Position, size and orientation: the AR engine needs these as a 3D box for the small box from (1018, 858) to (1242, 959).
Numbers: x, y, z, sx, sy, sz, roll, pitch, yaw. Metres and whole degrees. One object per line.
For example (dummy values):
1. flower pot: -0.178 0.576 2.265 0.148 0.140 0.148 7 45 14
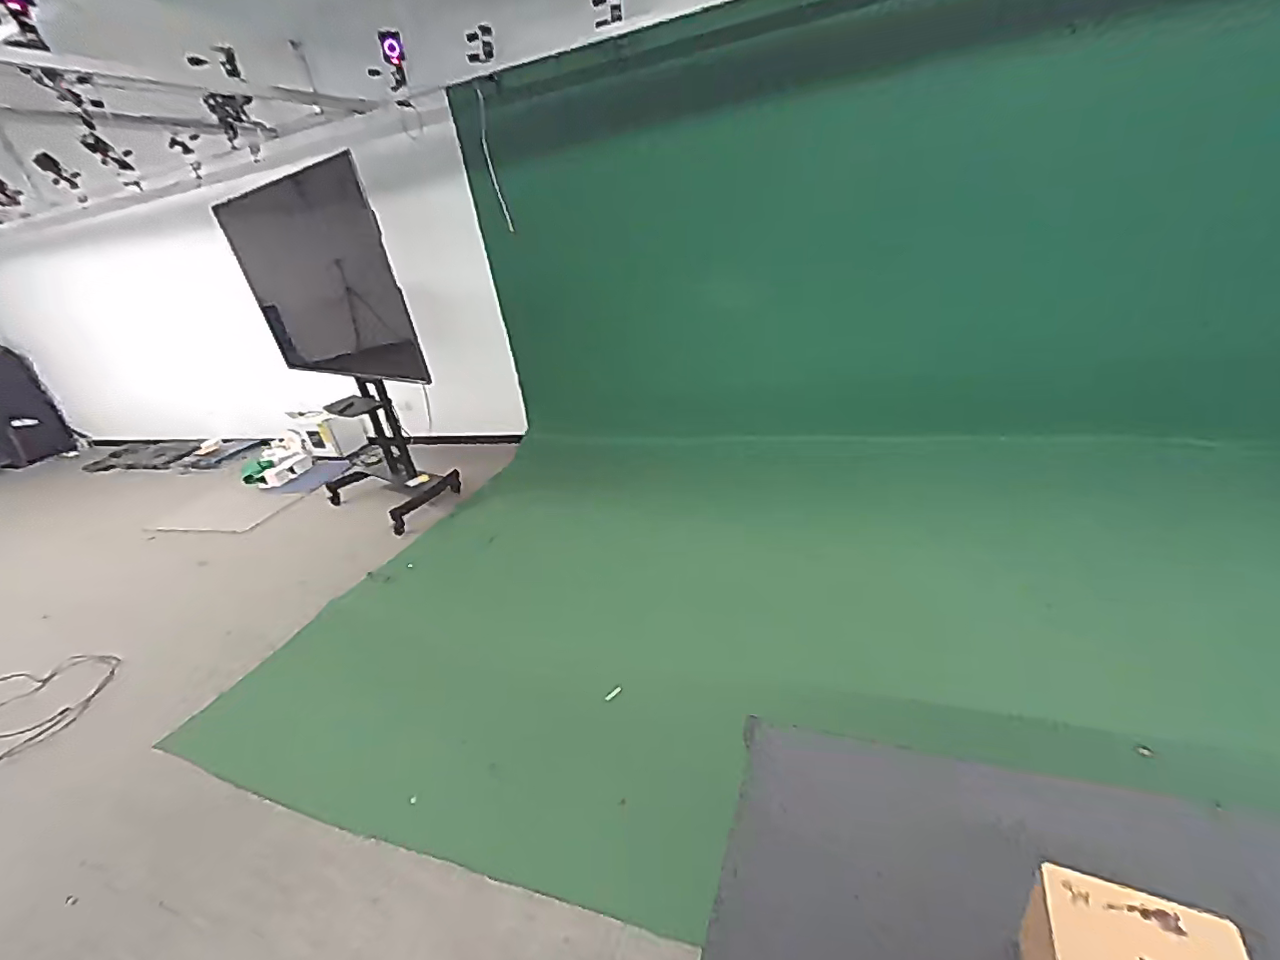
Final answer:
1. small box: 0.516 0.558 0.568 0.168 0.176 0.179 2 28 25
